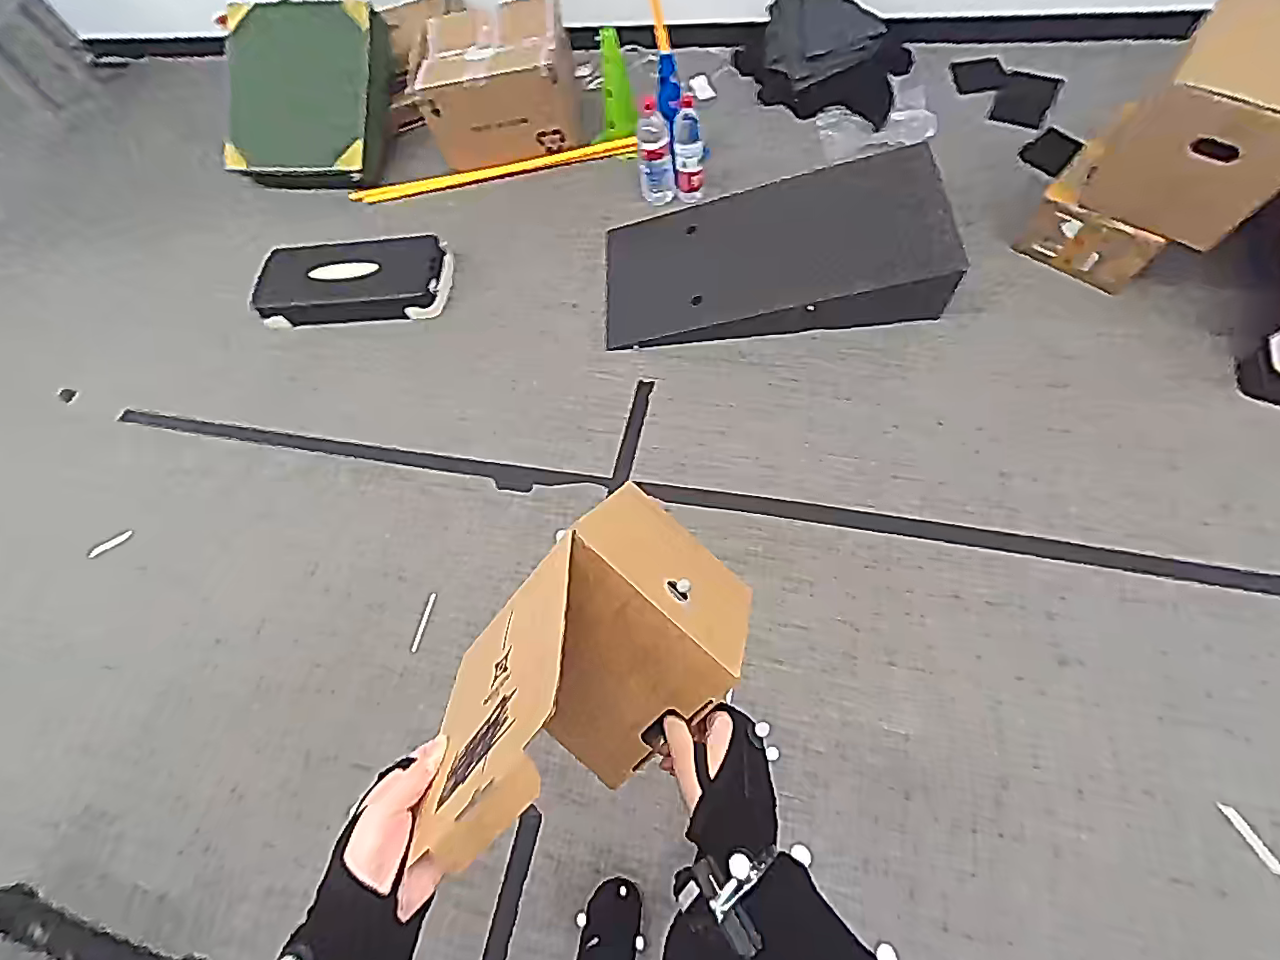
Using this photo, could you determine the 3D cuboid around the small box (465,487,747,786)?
[{"bbox_3d":[-0.017,0.128,0.508,0.179,0.176,0.168,42,108,4],"label":"small box"}]
